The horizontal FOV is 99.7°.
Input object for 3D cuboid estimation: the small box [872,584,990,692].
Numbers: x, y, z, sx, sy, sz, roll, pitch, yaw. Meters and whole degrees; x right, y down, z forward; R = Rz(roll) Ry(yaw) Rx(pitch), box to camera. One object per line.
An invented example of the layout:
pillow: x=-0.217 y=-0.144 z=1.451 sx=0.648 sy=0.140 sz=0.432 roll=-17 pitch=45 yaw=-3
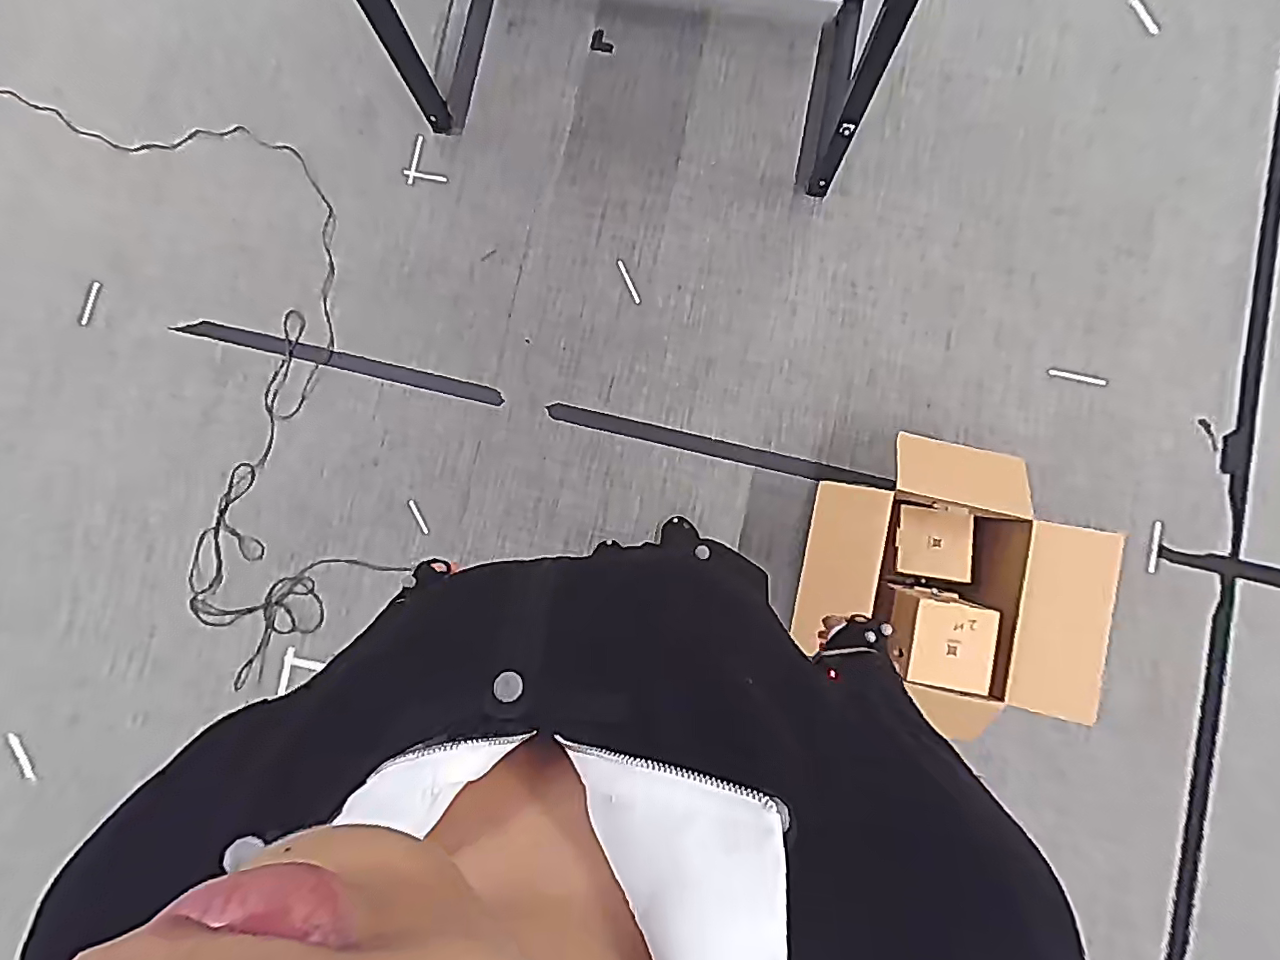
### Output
small box: x=0.635 y=0.343 z=1.203 sx=0.168 sy=0.176 sz=0.179 roll=10 pitch=87 yaw=3
